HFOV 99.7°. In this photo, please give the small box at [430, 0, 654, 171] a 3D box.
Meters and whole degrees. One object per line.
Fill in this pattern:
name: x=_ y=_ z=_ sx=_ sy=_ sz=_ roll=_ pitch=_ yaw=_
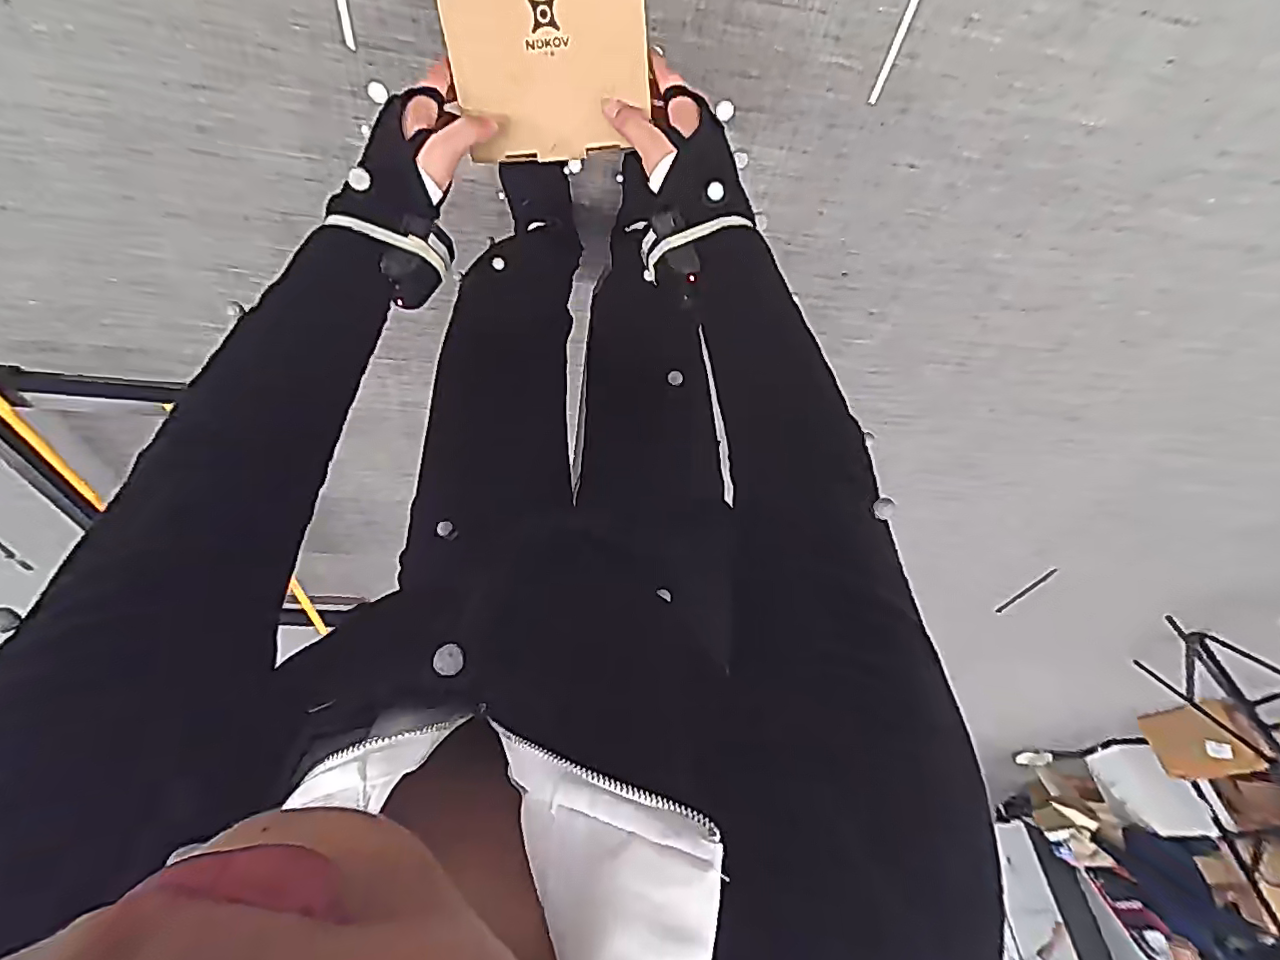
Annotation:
small box: x=-0.075 y=-0.392 z=0.495 sx=0.168 sy=0.176 sz=0.179 roll=-3 pitch=120 yaw=5
